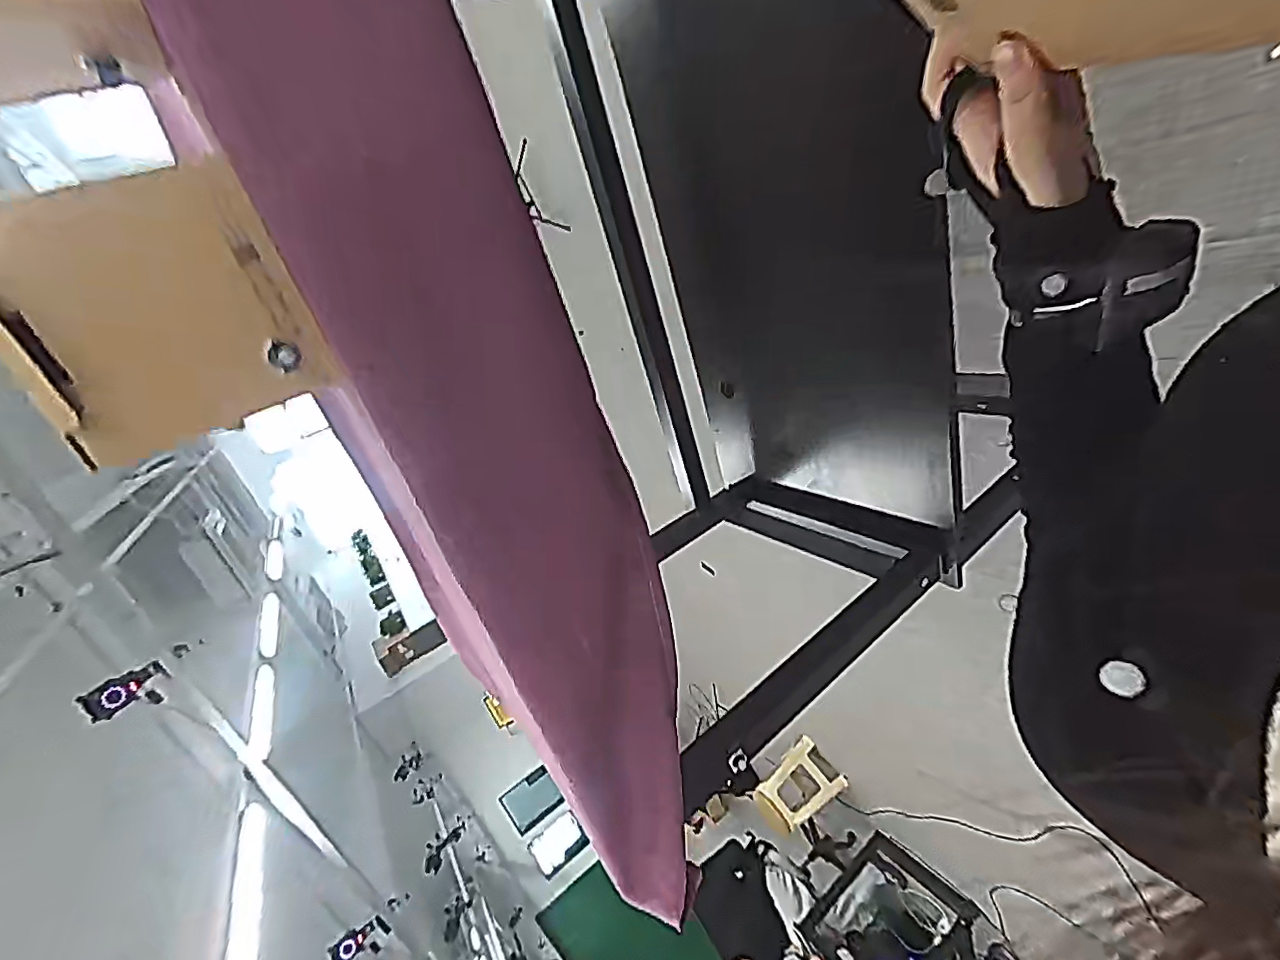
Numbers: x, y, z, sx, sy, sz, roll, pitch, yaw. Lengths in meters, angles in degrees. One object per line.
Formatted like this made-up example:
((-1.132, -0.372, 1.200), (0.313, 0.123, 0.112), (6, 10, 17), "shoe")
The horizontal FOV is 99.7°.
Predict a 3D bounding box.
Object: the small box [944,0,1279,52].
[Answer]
((0.186, -0.276, 0.166), (0.179, 0.168, 0.176), (-59, 31, 21), "small box")

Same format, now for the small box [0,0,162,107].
((-0.430, -0.334, 0.309), (0.168, 0.176, 0.179), (27, 141, 52), "small box")

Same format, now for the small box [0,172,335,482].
((-0.369, -0.122, 0.430), (0.179, 0.176, 0.168), (22, 136, 55), "small box")
